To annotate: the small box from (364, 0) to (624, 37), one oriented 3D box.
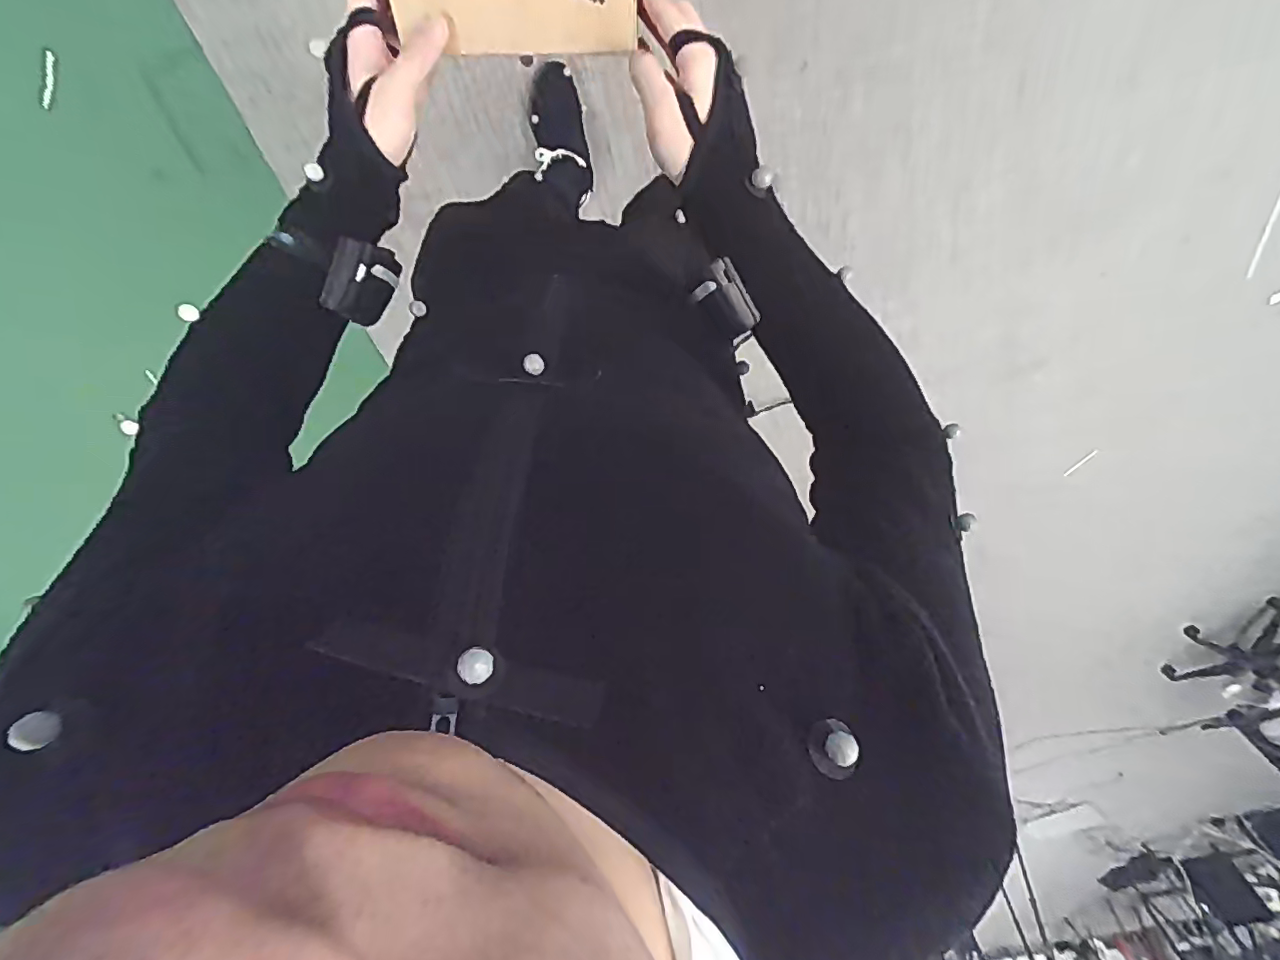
[{"bbox_3d":[-0.097,-0.426,0.373,0.179,0.176,0.168,2,135,0],"label":"small box"}]
